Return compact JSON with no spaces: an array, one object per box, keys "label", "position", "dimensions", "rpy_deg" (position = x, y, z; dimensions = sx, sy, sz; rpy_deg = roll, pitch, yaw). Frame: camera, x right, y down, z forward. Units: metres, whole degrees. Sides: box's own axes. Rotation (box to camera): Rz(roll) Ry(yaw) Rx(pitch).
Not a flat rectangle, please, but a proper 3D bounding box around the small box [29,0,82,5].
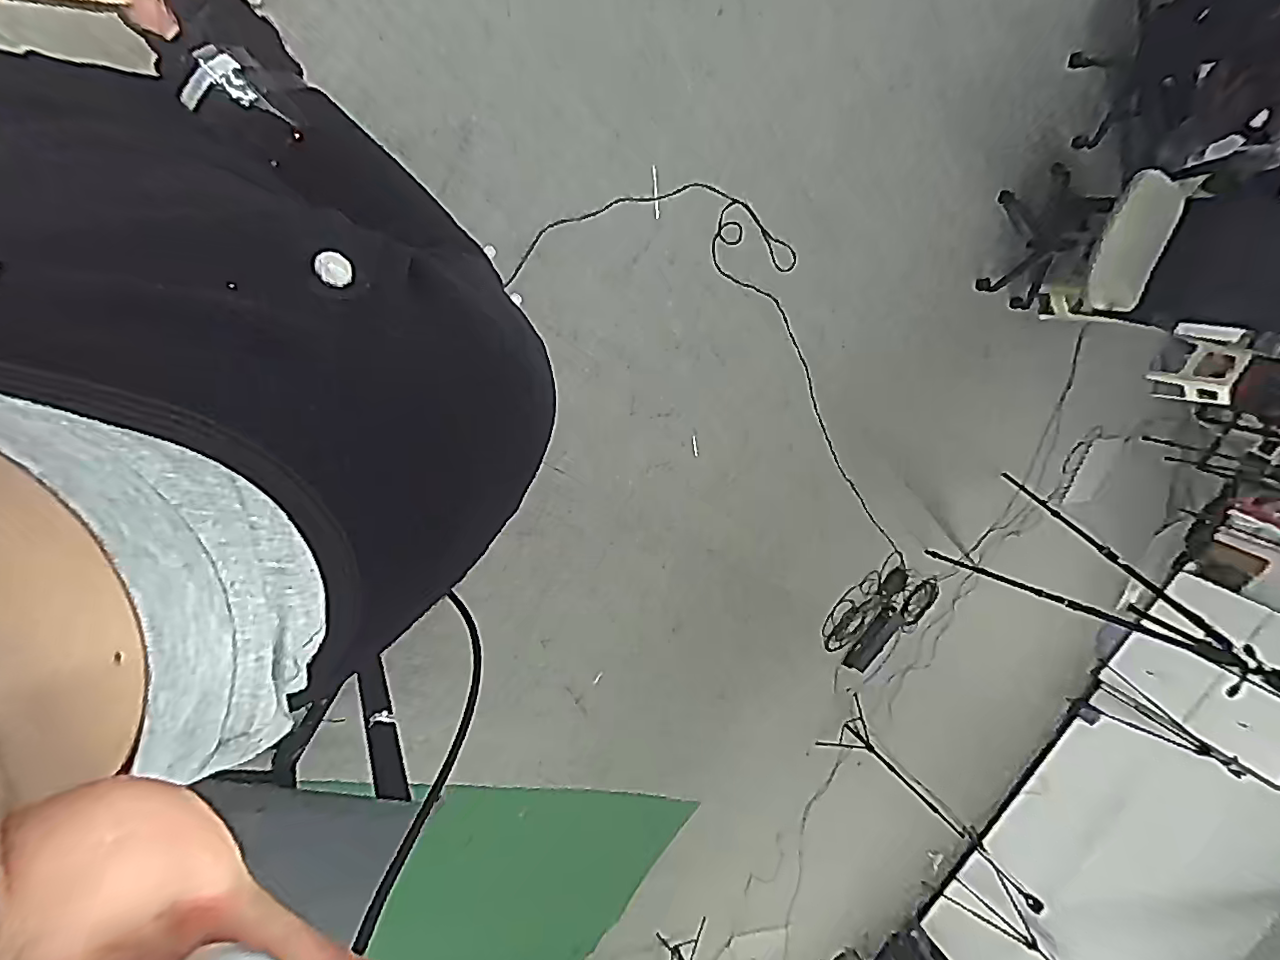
[{"label":"small box","position":[-0.390,-0.338,0.246],"dimensions":[0.179,0.176,0.168],"rpy_deg":[-24,136,-34]}]
